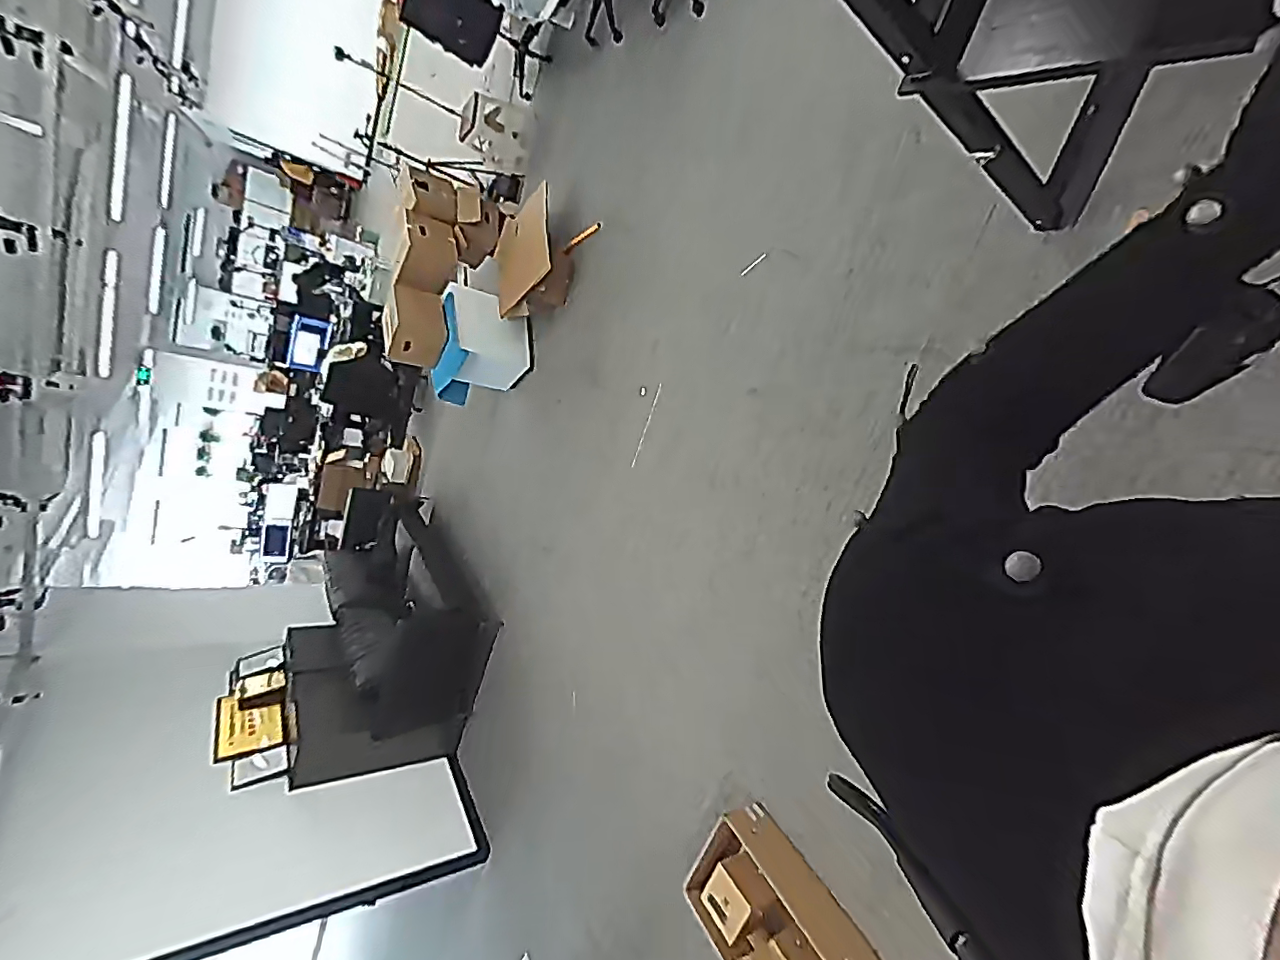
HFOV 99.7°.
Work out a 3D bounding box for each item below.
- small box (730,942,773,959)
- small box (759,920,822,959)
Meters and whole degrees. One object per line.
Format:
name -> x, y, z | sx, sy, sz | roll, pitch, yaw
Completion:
small box -> 0.322, 1.512, 1.576 | 0.168, 0.176, 0.179 | 39, 114, 50
small box -> 0.454, 1.519, 1.670 | 0.168, 0.176, 0.179 | 40, 115, 50
